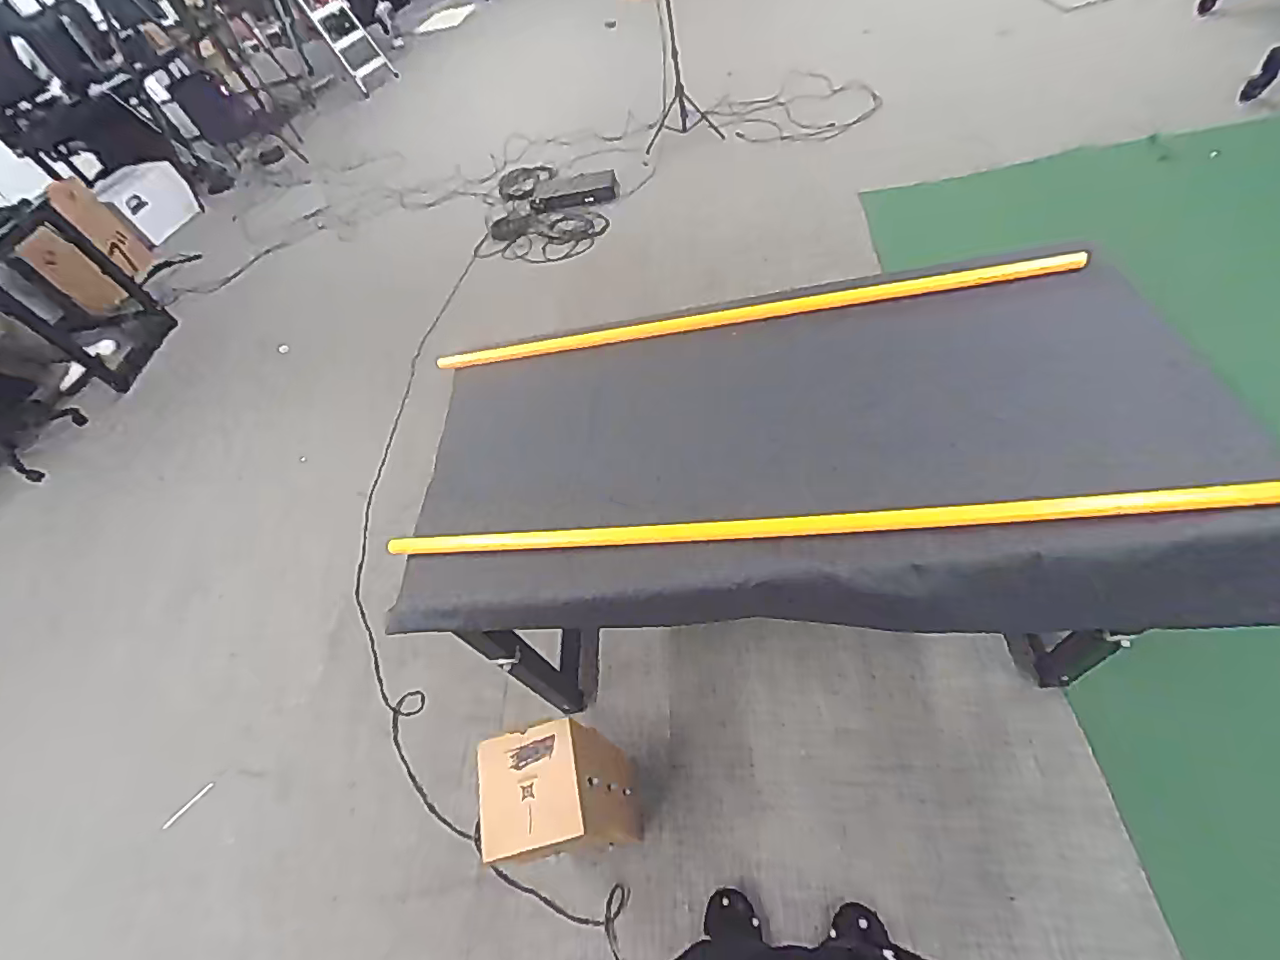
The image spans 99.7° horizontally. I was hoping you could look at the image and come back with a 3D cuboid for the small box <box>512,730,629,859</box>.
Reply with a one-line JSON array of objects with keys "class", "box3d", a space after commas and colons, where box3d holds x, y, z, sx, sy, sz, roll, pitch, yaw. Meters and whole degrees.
[{"class": "small box", "box3d": [-0.134, 0.624, 1.070, 0.168, 0.176, 0.179, -21, 52, 2]}]
